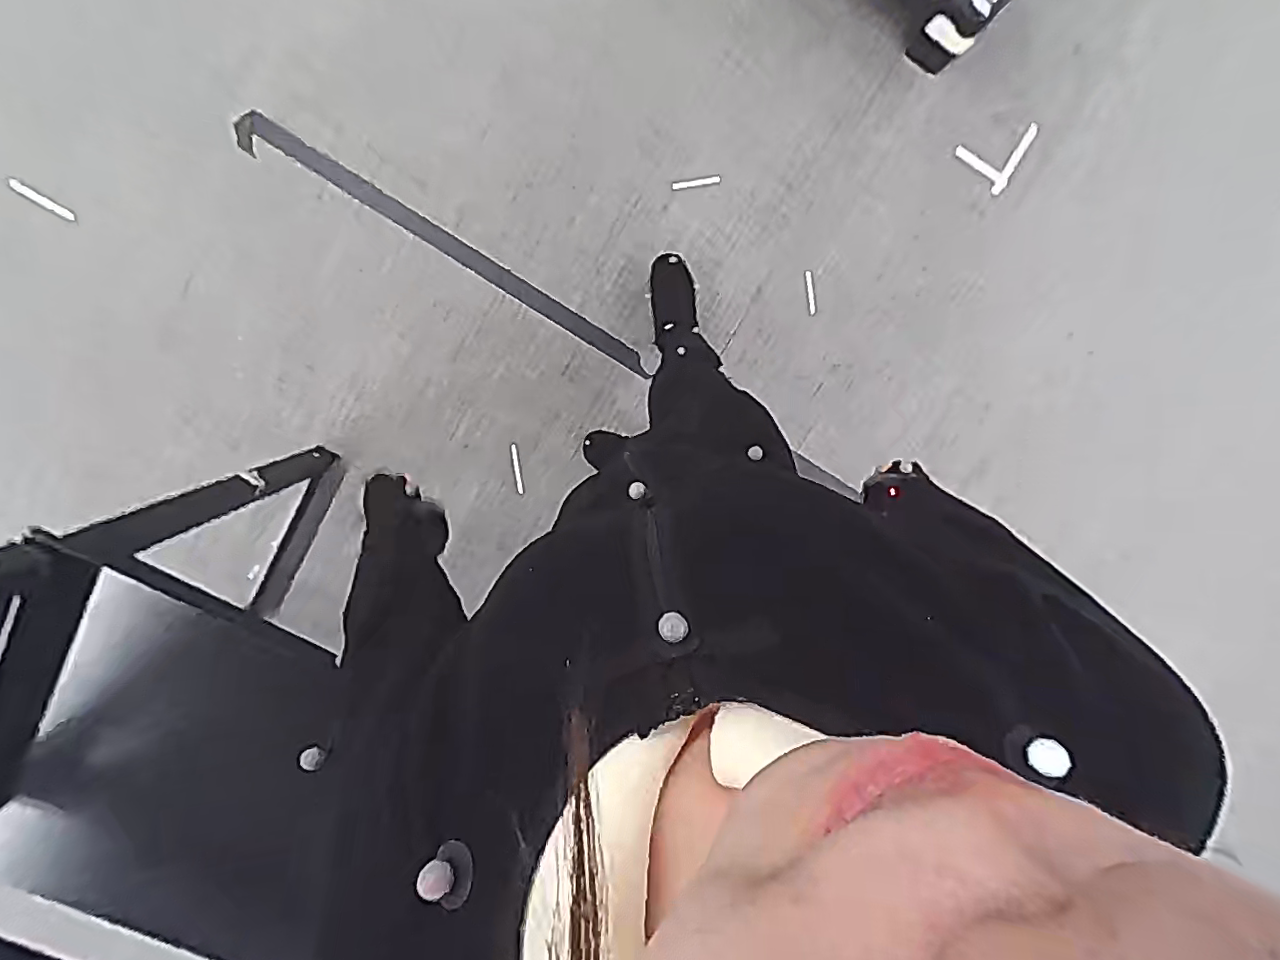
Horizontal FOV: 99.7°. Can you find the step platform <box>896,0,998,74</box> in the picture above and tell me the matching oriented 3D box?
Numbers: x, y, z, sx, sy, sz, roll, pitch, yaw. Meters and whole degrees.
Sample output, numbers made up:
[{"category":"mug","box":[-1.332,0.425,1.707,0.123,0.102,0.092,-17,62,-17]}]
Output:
[{"category":"step platform","box":[0.494,-1.226,1.119,0.684,0.204,0.286,36,100,-9]}]
